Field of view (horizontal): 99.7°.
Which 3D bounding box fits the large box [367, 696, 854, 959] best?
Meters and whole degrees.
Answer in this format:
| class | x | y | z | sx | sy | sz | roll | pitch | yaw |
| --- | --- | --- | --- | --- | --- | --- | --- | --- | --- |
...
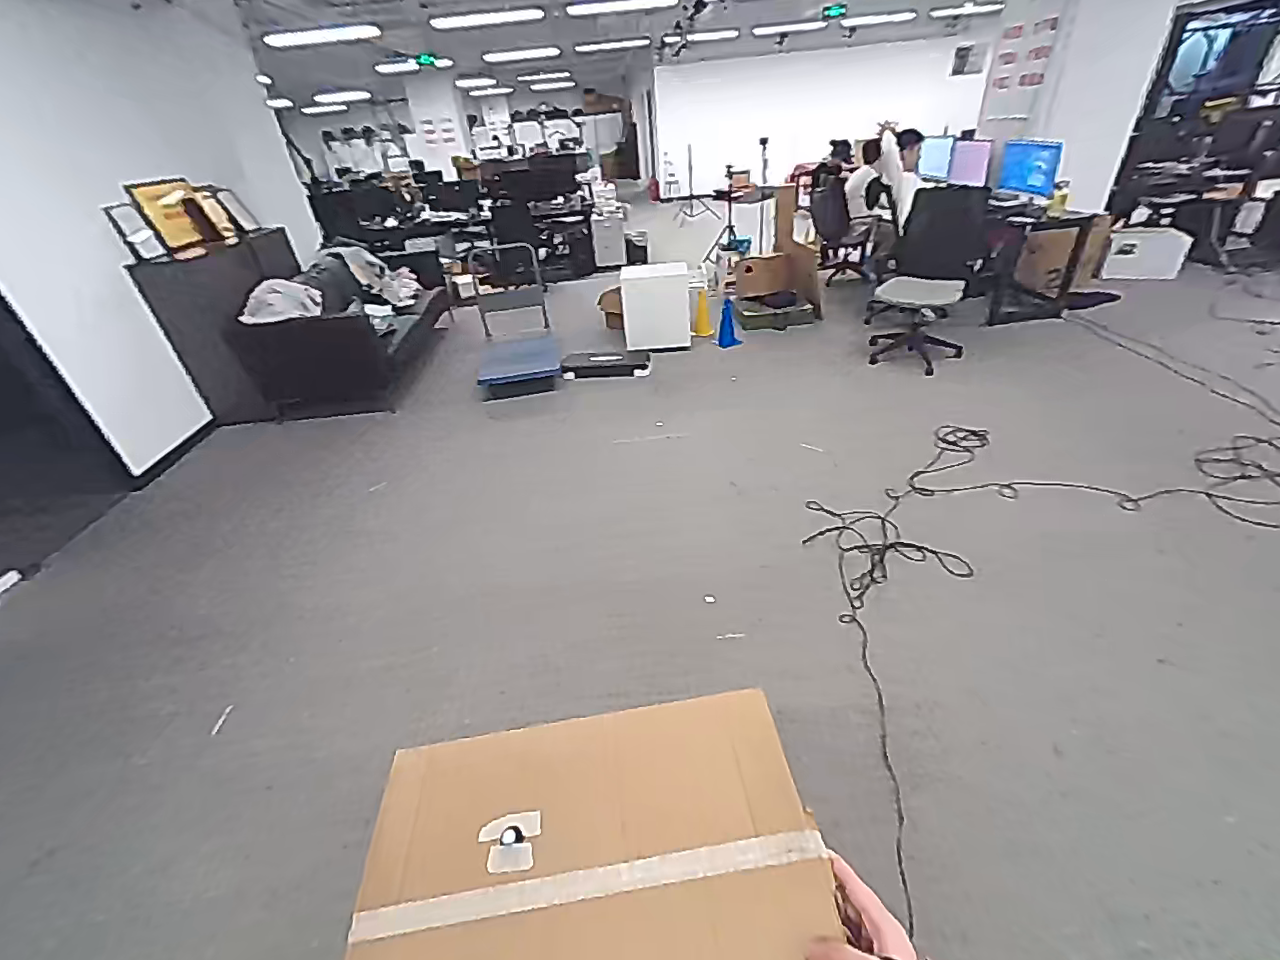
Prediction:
| class | x | y | z | sx | sy | sz | roll | pitch | yaw |
| --- | --- | --- | --- | --- | --- | --- | --- | --- | --- |
| large box | -0.014 | 0.479 | 0.559 | 0.408 | 0.320 | 0.320 | -11 | 36 | 1 |
